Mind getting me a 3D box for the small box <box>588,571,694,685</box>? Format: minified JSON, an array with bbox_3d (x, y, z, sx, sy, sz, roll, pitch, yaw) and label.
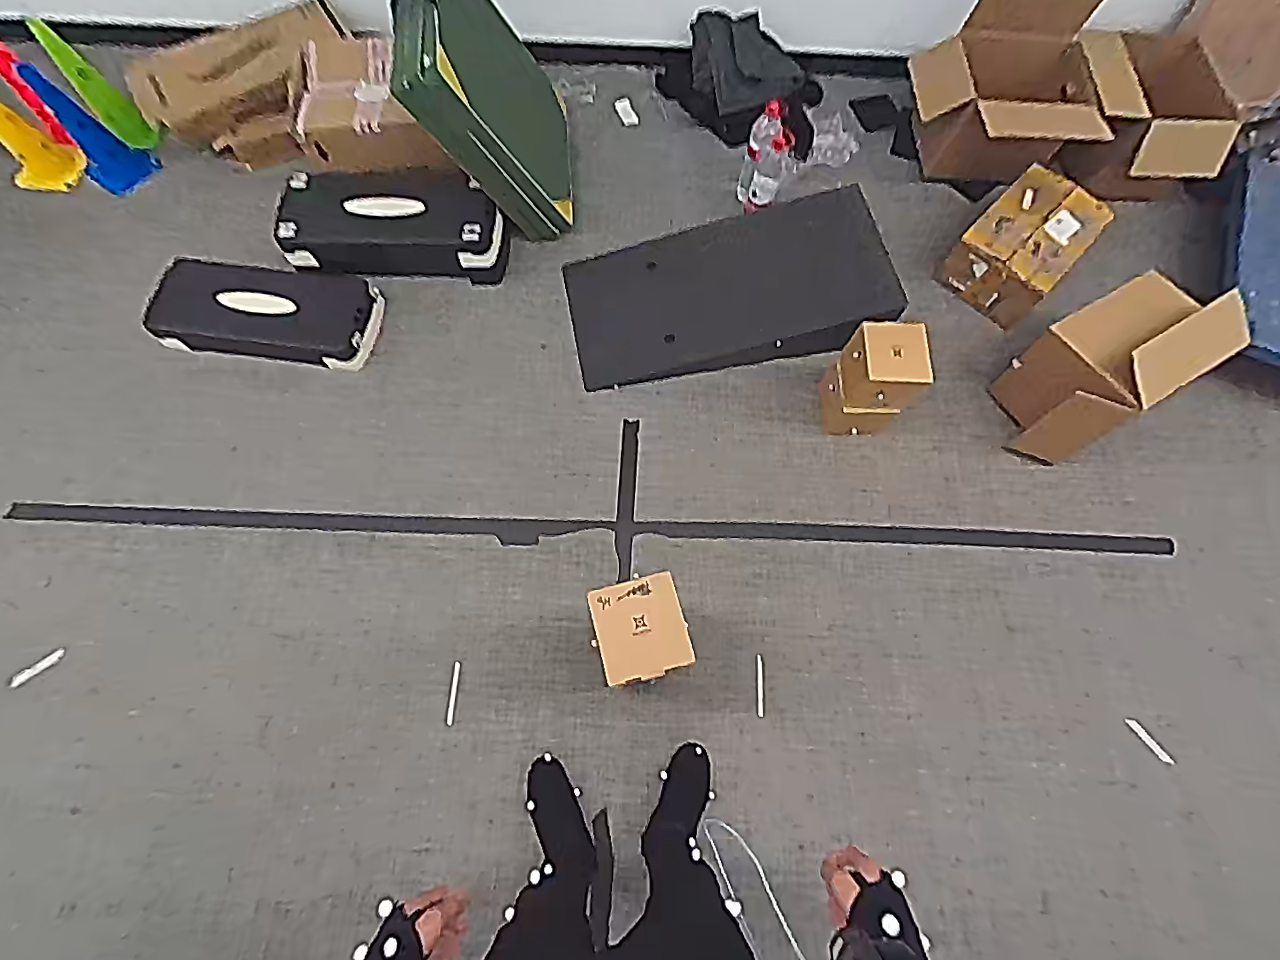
[{"bbox_3d":[-0.001,0.294,1.074,0.168,0.176,0.179,-13,73,-6],"label":"small box"}]
